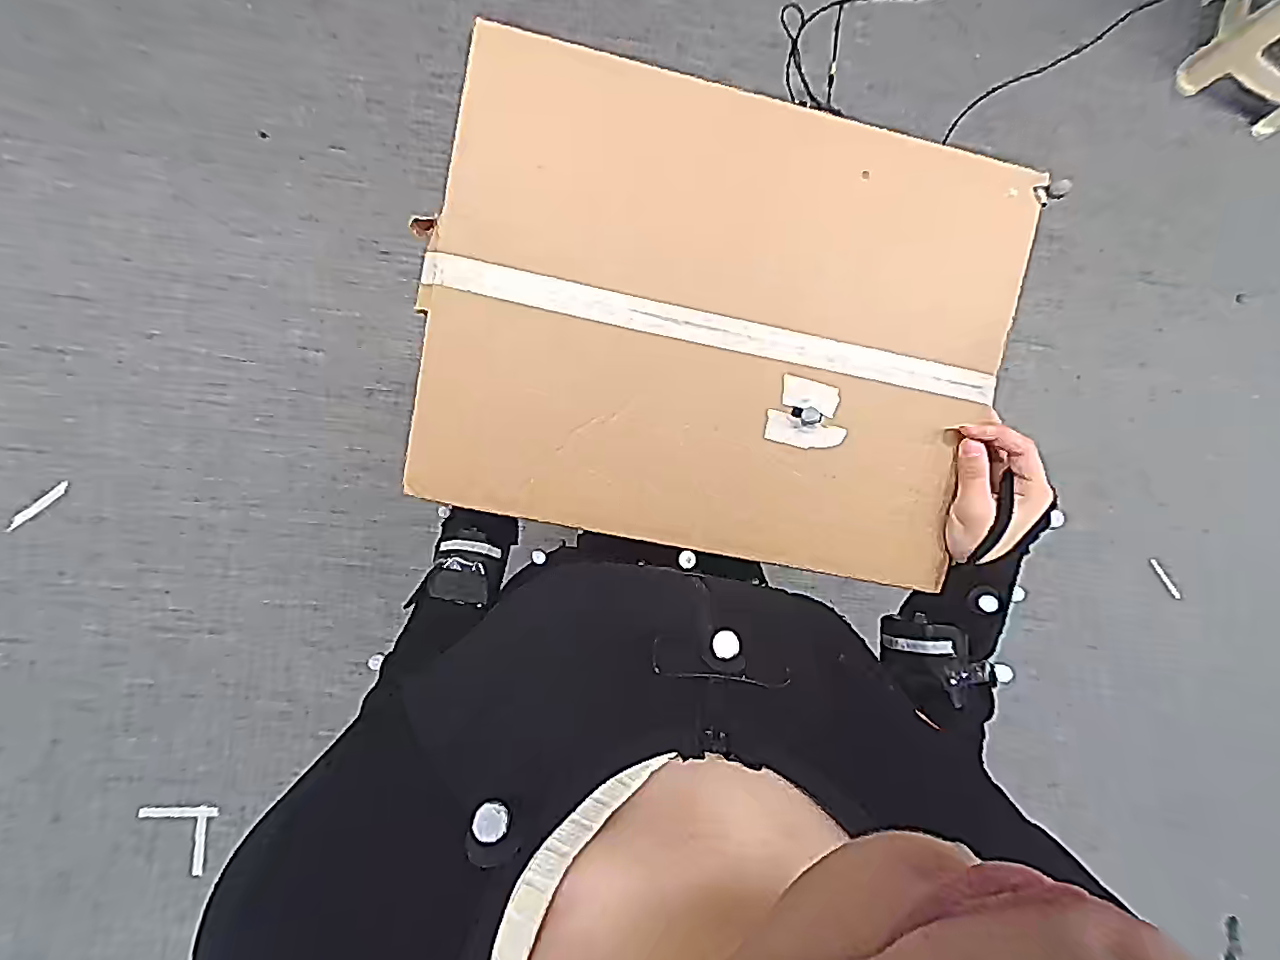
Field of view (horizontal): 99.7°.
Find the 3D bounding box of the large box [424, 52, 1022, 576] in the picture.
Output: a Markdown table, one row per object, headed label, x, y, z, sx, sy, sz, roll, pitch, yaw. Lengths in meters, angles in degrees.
| label | x | y | z | sx | sy | sz | roll | pitch | yaw |
| --- | --- | --- | --- | --- | --- | --- | --- | --- | --- |
| large box | 0.049 | -0.119 | 0.537 | 0.408 | 0.320 | 0.320 | 10 | 96 | -7 |
